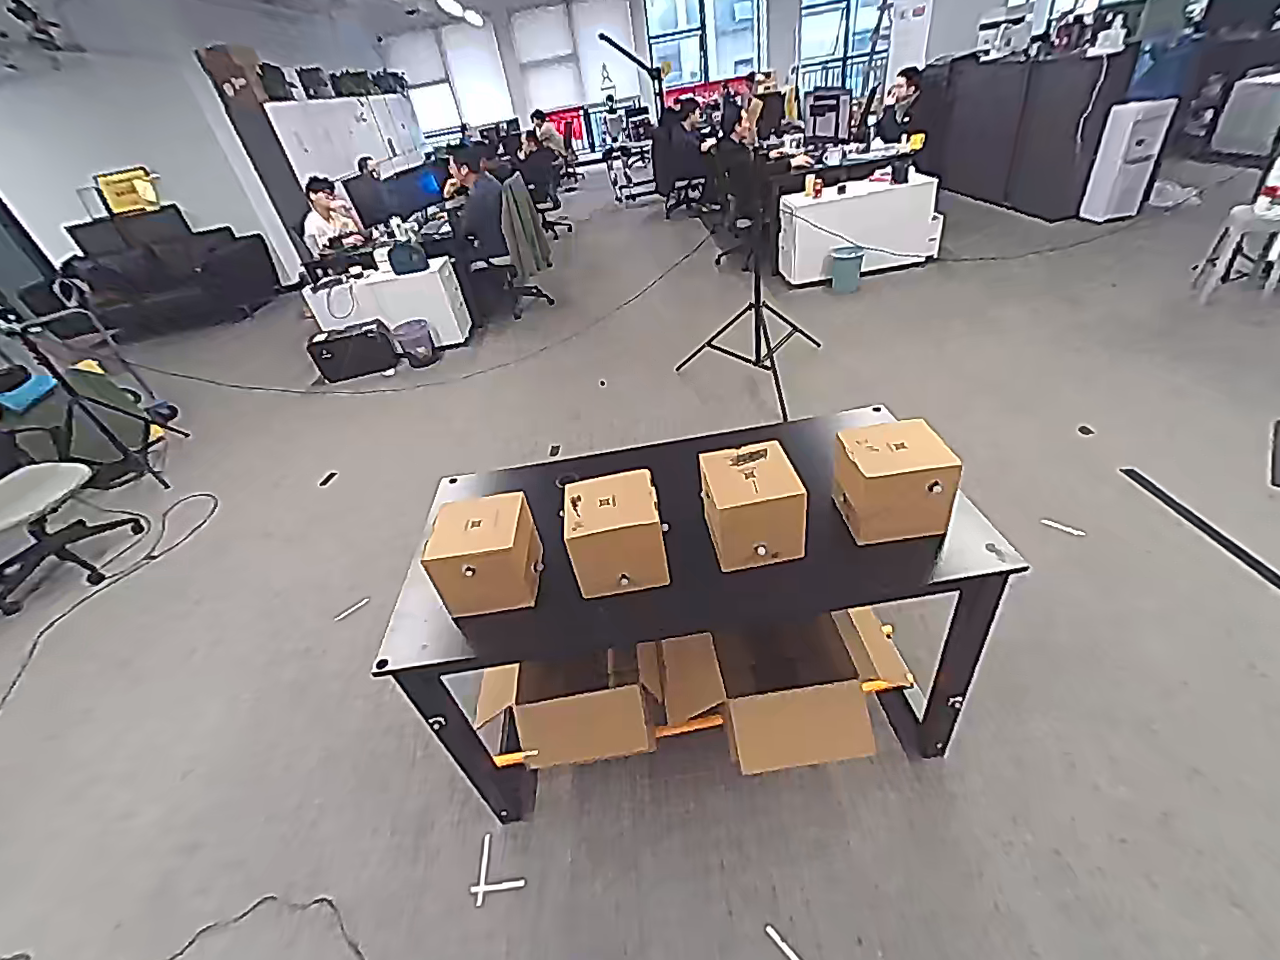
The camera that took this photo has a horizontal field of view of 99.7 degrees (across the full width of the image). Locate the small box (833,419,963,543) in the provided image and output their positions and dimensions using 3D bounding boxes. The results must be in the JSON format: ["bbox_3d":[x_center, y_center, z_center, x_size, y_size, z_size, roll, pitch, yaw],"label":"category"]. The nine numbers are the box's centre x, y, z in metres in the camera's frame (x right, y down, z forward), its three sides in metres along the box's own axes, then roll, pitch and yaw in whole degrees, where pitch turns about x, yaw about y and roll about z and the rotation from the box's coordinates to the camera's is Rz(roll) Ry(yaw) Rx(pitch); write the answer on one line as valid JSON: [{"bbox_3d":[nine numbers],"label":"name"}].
[{"bbox_3d":[0.495,0.003,1.069,0.179,0.176,0.168,-9,35,4],"label":"small box"}]

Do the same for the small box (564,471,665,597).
[{"bbox_3d":[-0.047,0.107,1.070,0.179,0.176,0.168,-10,36,0],"label":"small box"}]

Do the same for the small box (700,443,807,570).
[{"bbox_3d":[0.220,0.051,1.077,0.168,0.176,0.179,-11,37,0],"label":"small box"}]

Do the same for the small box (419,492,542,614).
[{"bbox_3d":[-0.306,0.150,1.080,0.179,0.176,0.168,-8,38,1],"label":"small box"}]
